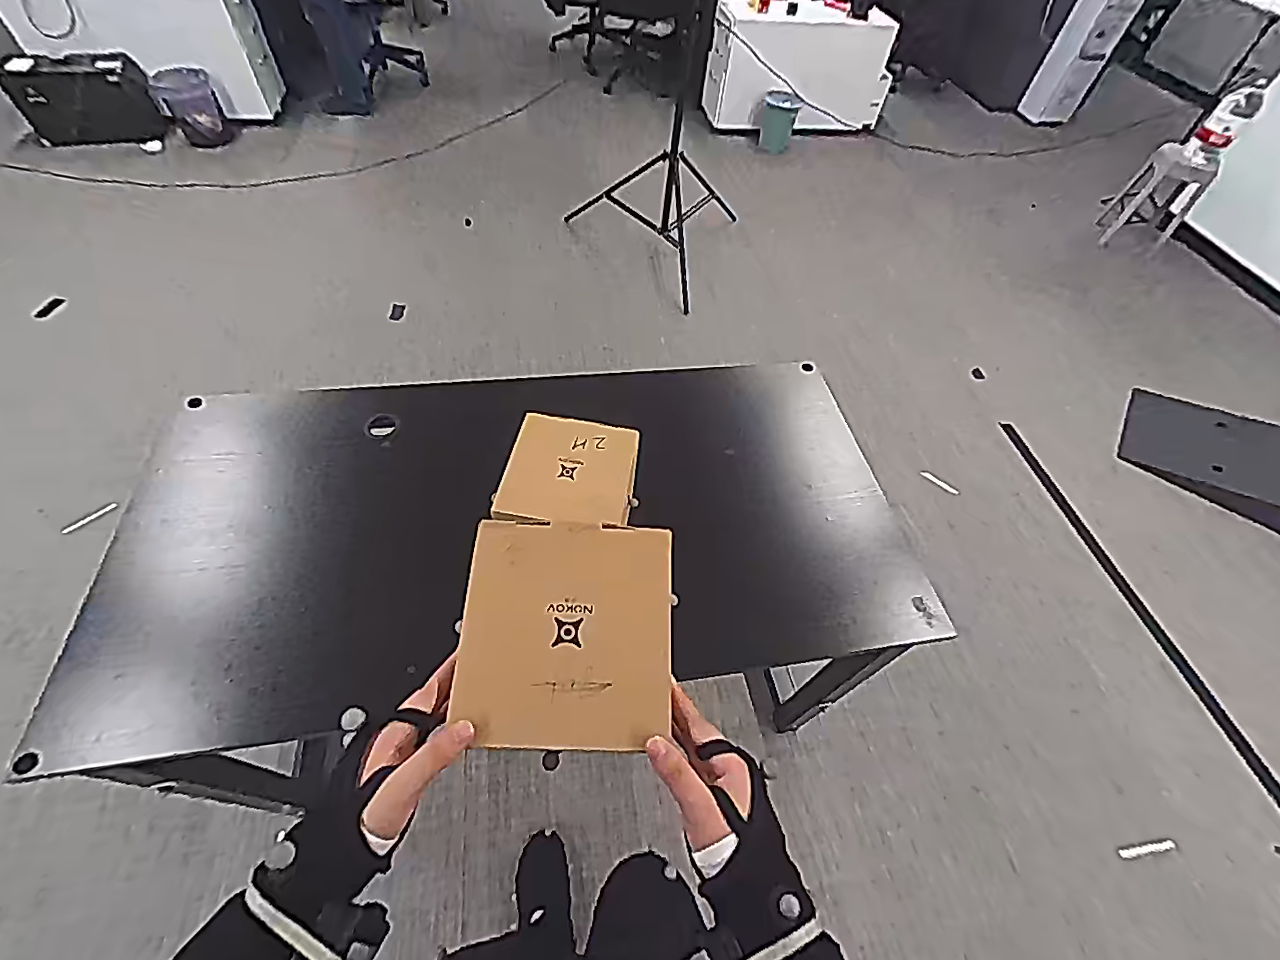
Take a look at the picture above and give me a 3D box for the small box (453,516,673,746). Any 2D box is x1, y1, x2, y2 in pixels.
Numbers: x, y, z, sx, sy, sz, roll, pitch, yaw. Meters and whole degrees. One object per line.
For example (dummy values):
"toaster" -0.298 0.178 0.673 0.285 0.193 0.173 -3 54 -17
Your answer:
"small box" -0.062 0.149 0.508 0.168 0.176 0.179 3 64 -4

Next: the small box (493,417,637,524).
"small box" -0.101 0.037 0.799 0.168 0.176 0.179 10 53 1
